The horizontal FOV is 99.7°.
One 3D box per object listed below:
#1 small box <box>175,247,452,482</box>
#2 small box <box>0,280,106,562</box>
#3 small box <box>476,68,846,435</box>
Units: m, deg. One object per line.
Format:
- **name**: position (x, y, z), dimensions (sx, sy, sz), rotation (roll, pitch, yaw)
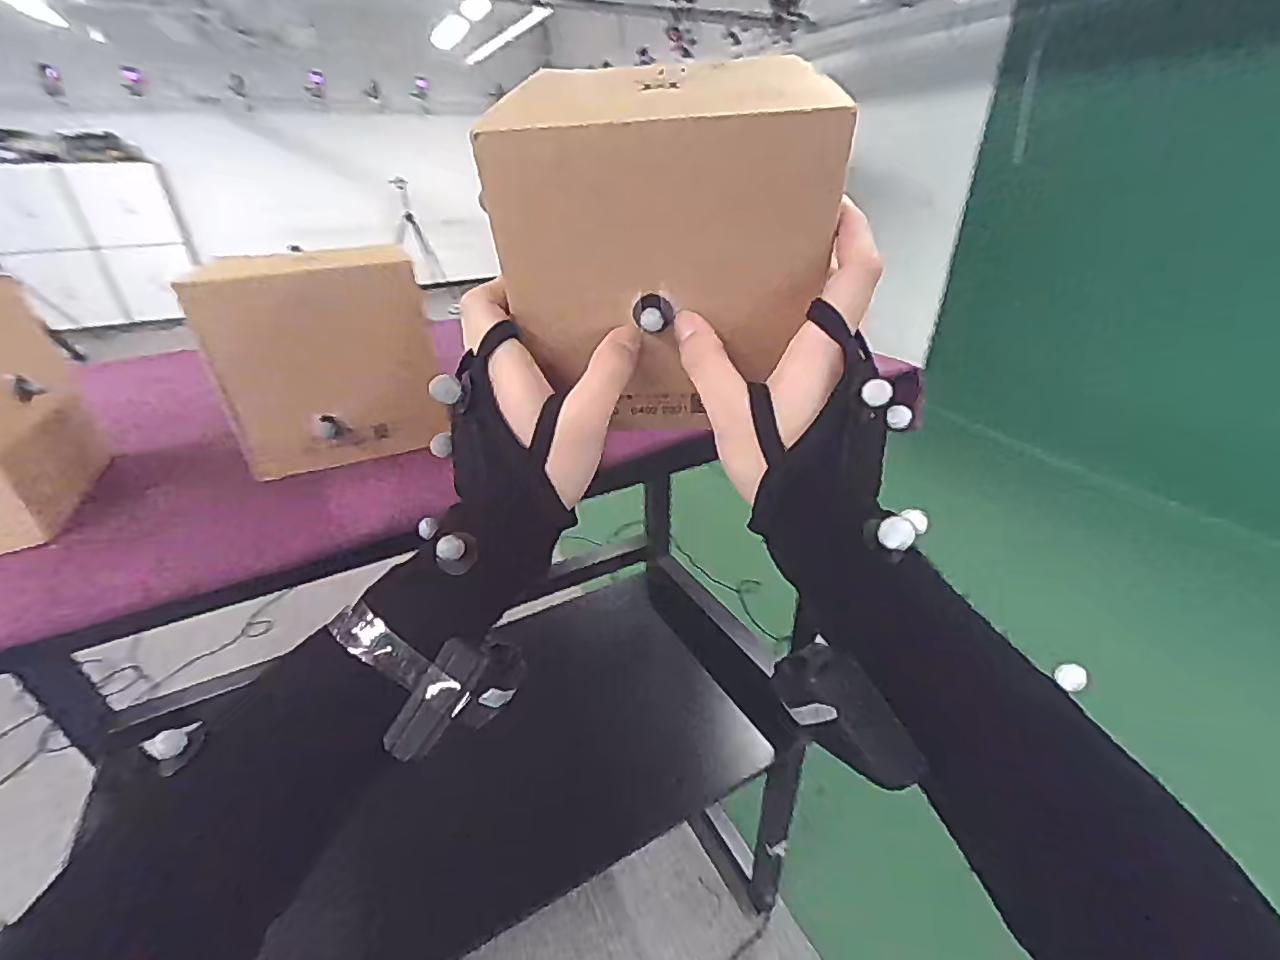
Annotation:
- **small box**: position (-0.292, -0.119, 0.519), dimensions (0.168, 0.176, 0.179), rotation (-16, 33, -21)
- **small box**: position (-0.537, -0.037, 0.384), dimensions (0.168, 0.176, 0.179), rotation (-17, 33, -24)
- **small box**: position (0.019, -0.141, 0.346), dimensions (0.168, 0.176, 0.179), rotation (0, 43, 6)
